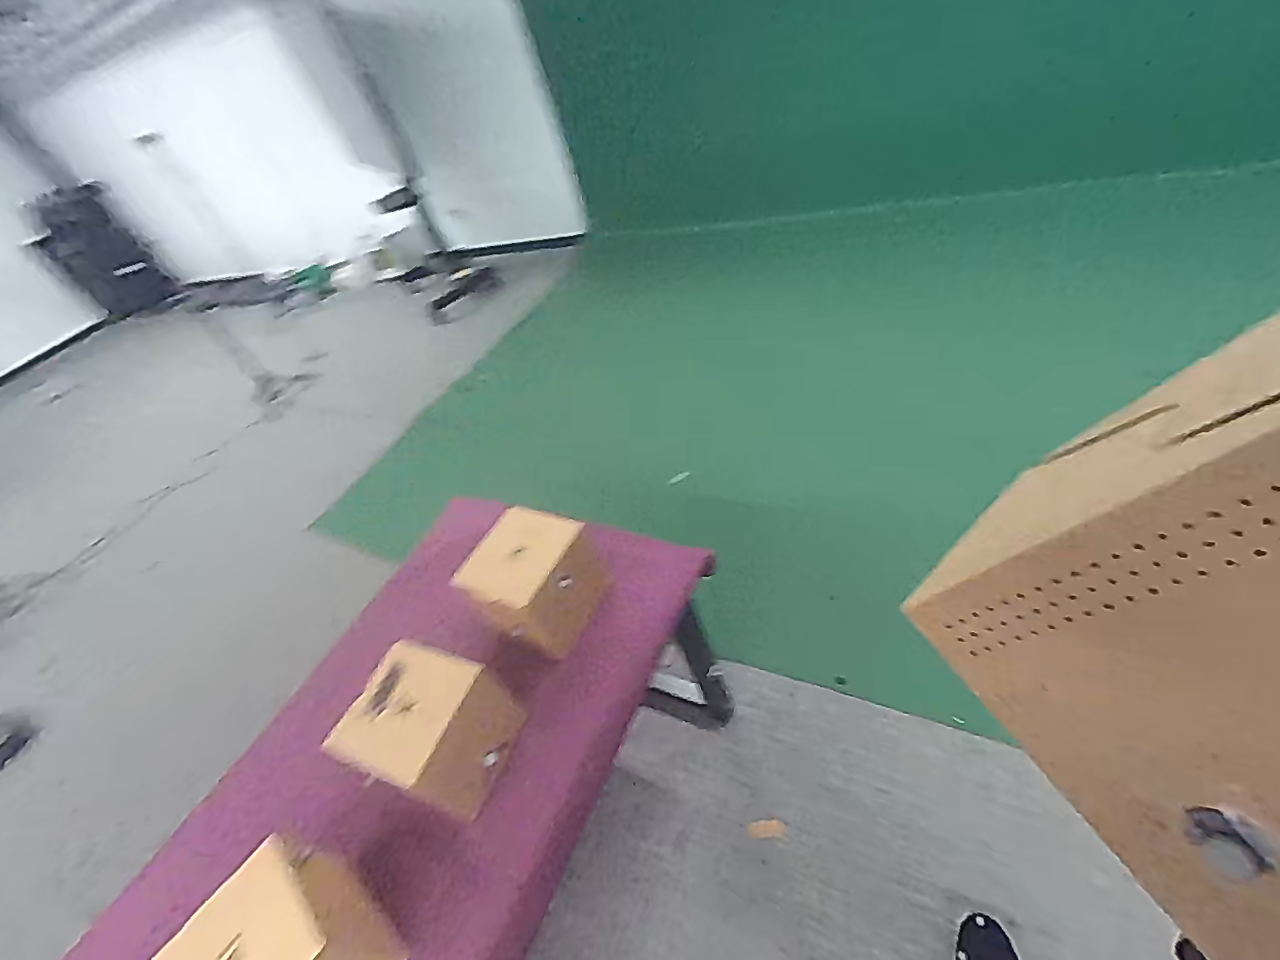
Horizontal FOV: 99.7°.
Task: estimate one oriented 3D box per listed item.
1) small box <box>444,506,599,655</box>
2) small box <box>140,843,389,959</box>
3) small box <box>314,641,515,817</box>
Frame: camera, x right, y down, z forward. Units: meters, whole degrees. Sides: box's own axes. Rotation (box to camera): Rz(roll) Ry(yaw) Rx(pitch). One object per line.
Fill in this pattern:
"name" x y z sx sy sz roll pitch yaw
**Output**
"small box" -0.195 0.176 0.946 0.168 0.176 0.179 11 51 31
"small box" -0.436 0.575 0.633 0.179 0.176 0.168 21 57 37
"small box" -0.320 0.367 0.800 0.179 0.176 0.168 6 49 25
